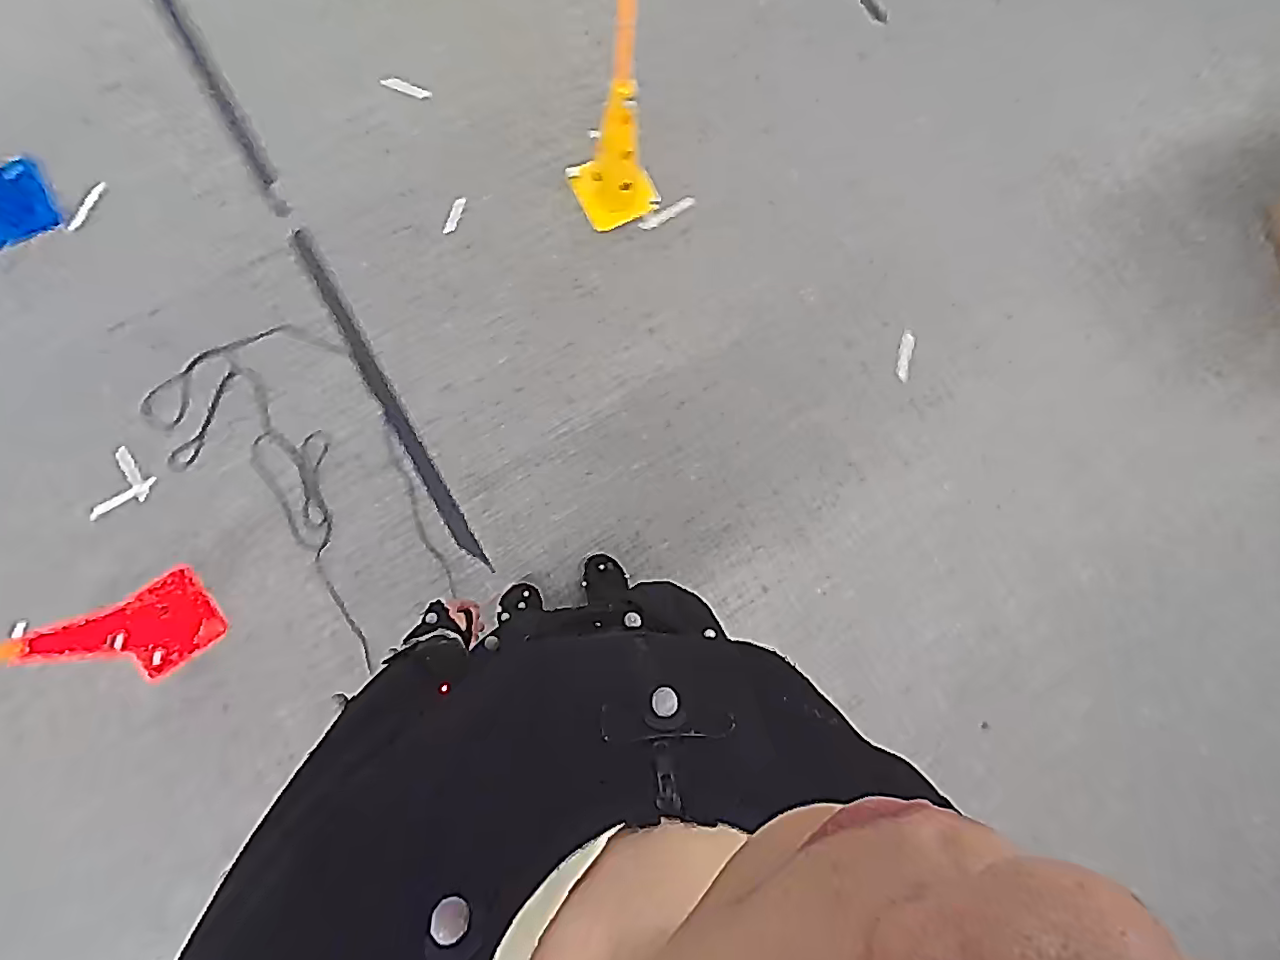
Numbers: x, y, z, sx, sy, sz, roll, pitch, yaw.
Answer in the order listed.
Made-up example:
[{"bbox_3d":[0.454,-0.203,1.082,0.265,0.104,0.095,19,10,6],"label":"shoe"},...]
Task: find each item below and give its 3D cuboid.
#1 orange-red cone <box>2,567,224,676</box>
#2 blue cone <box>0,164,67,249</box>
[{"bbox_3d":[-1.080,0.304,1.087,0.199,0.360,0.198,-35,88,-10],"label":"orange-red cone"},{"bbox_3d":[-1.536,-0.705,1.184,0.193,0.380,0.192,-27,87,-8],"label":"blue cone"}]
